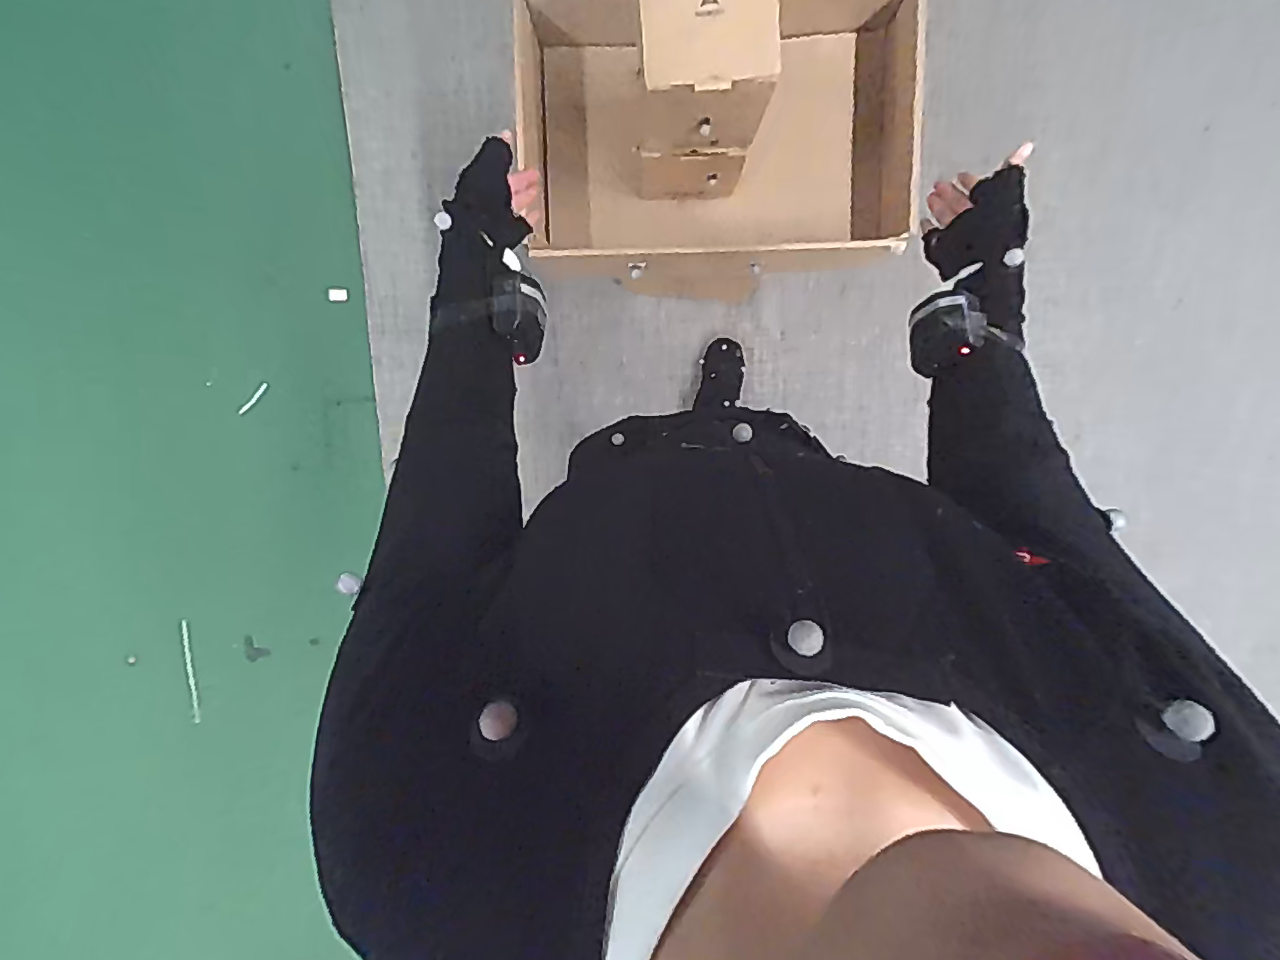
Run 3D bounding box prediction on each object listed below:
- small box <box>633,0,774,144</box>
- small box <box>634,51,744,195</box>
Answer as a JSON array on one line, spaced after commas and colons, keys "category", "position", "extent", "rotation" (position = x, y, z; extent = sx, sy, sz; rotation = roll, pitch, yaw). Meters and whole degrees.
[{"category": "small box", "position": [0.076, -0.570, 0.715], "extent": [0.168, 0.176, 0.179], "rotation": [-4, 98, 0]}, {"category": "small box", "position": [0.074, -0.583, 0.879], "extent": [0.168, 0.176, 0.179], "rotation": [-1, 96, 0]}]
